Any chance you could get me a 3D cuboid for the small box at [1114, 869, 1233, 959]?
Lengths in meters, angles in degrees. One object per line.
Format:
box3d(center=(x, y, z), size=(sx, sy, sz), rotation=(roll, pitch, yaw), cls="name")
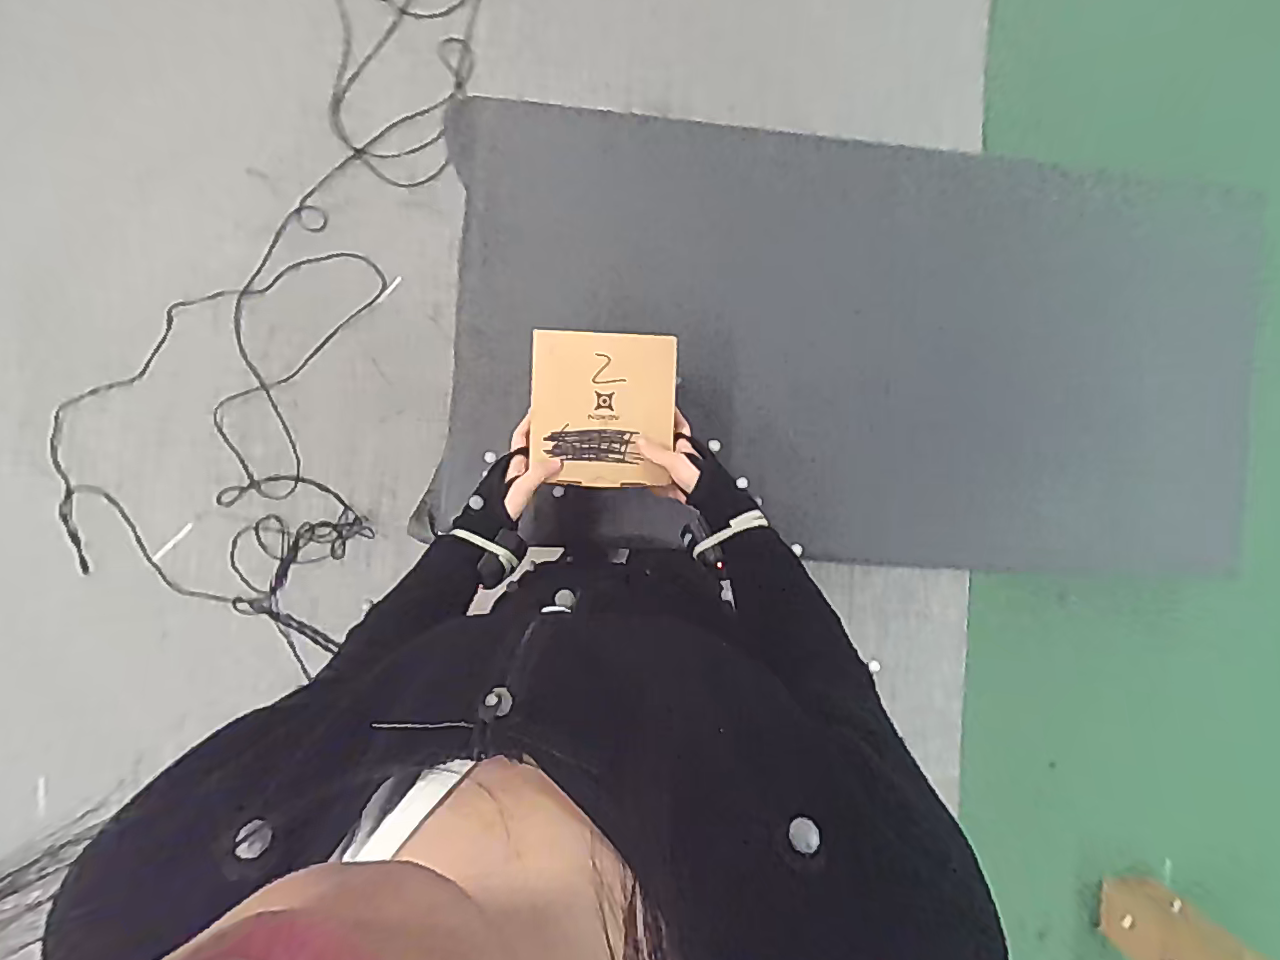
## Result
box3d(center=(1.484, 1.230, 1.514), size=(0.179, 0.176, 0.168), rotation=(3, 90, -3), cls="small box")
